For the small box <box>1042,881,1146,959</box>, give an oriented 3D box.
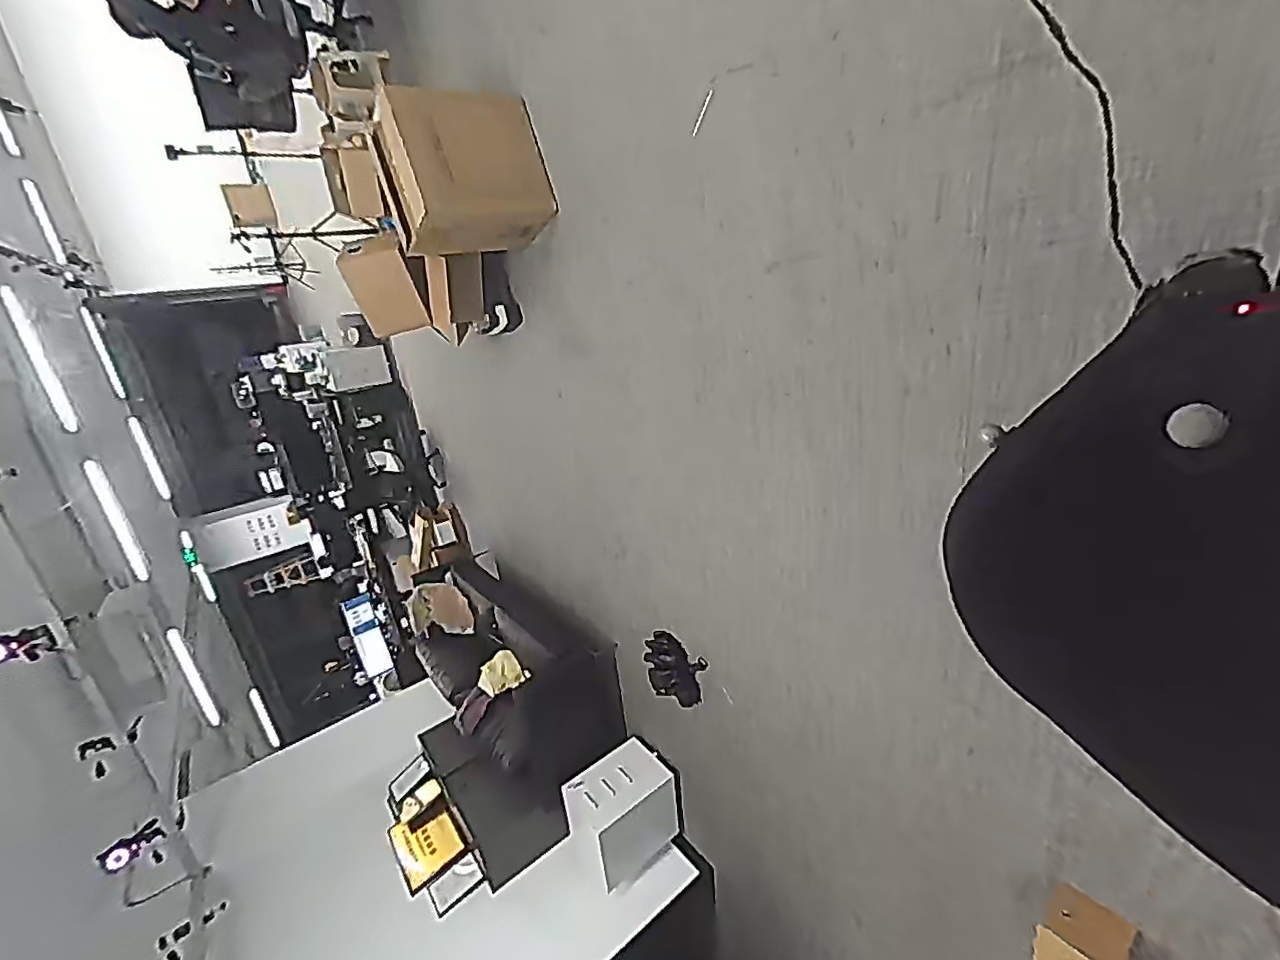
[{"bbox_3d":[1.237,1.251,1.477,0.179,0.176,0.168,13,120,50],"label":"small box"}]
